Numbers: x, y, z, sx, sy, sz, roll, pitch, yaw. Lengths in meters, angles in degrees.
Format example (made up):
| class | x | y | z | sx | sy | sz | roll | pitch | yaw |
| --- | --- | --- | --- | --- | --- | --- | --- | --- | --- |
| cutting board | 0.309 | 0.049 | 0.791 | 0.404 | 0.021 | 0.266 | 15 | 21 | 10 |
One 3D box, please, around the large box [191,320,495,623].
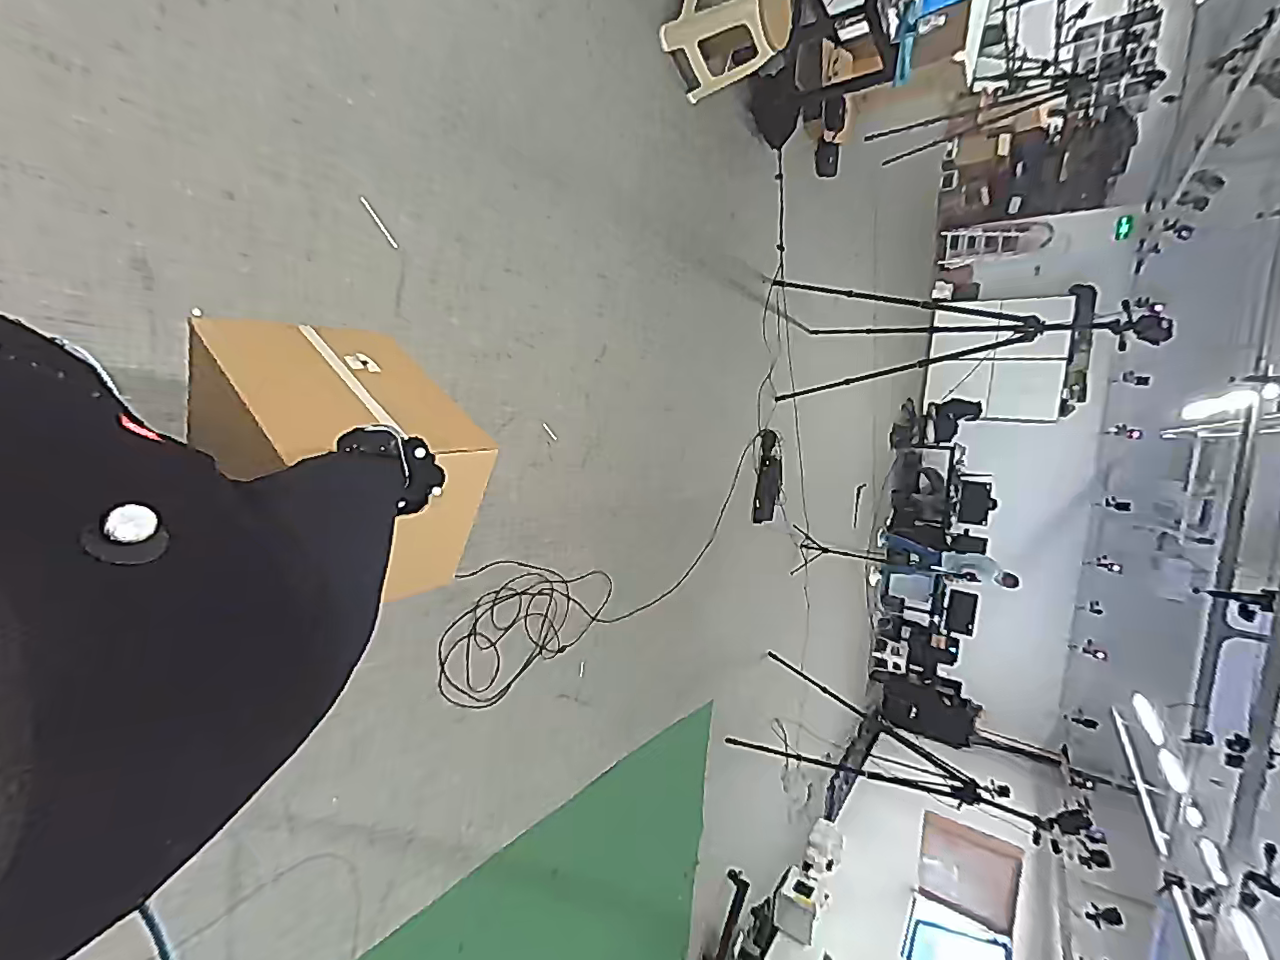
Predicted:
| class | x | y | z | sx | sy | sz | roll | pitch | yaw |
| --- | --- | --- | --- | --- | --- | --- | --- | --- | --- |
| large box | -0.524 | -0.034 | 0.936 | 0.320 | 0.408 | 0.320 | -10 | 133 | -52 |
